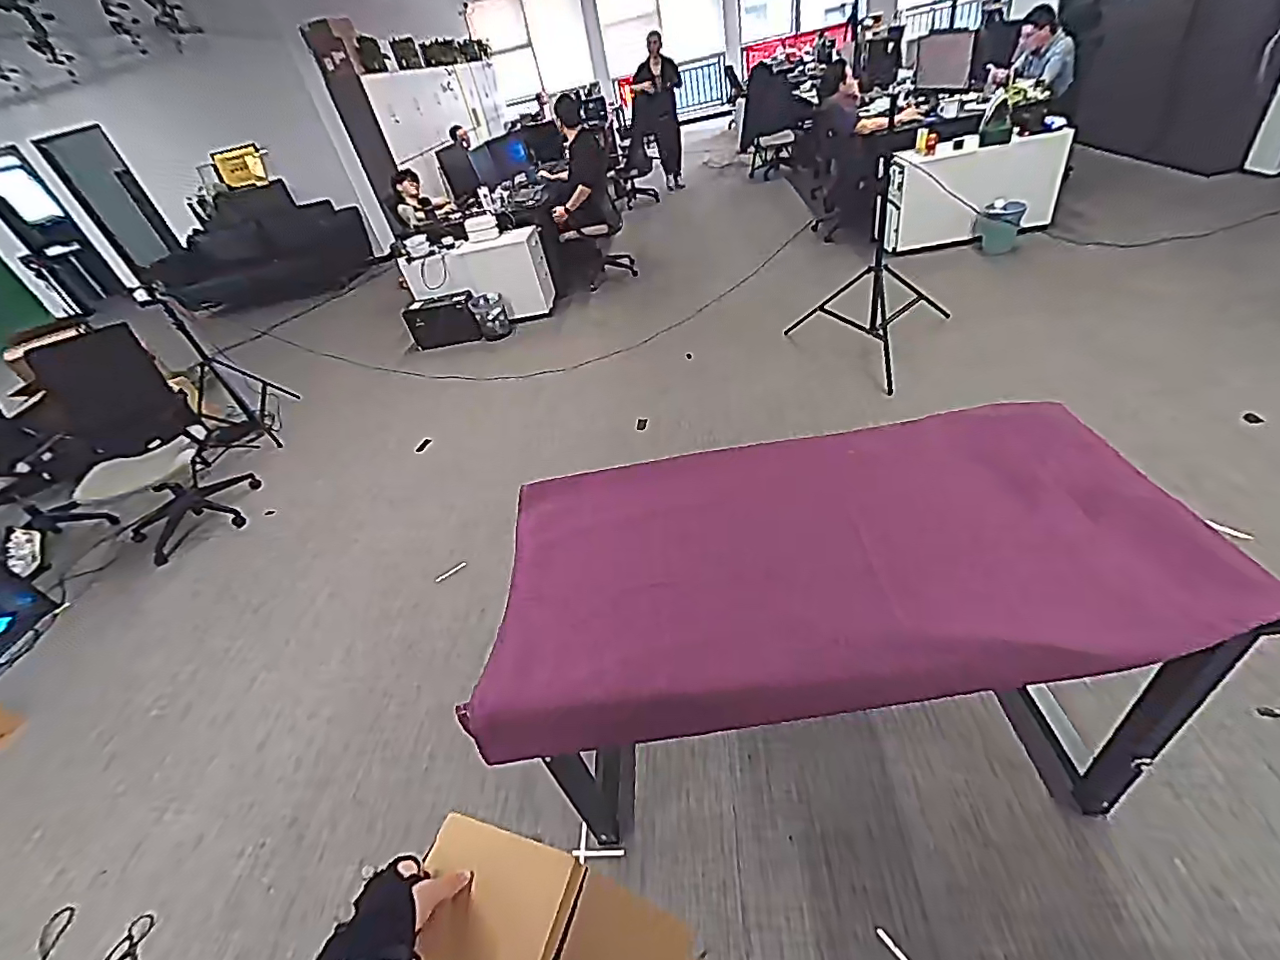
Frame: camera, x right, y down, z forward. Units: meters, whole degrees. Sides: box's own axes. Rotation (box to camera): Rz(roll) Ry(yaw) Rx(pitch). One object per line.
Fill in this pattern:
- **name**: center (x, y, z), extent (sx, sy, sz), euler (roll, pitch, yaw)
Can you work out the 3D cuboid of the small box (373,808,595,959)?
- **small box**: center (-0.160, 0.507, 0.606), extent (0.179, 0.176, 0.168), euler (13, 46, 15)
